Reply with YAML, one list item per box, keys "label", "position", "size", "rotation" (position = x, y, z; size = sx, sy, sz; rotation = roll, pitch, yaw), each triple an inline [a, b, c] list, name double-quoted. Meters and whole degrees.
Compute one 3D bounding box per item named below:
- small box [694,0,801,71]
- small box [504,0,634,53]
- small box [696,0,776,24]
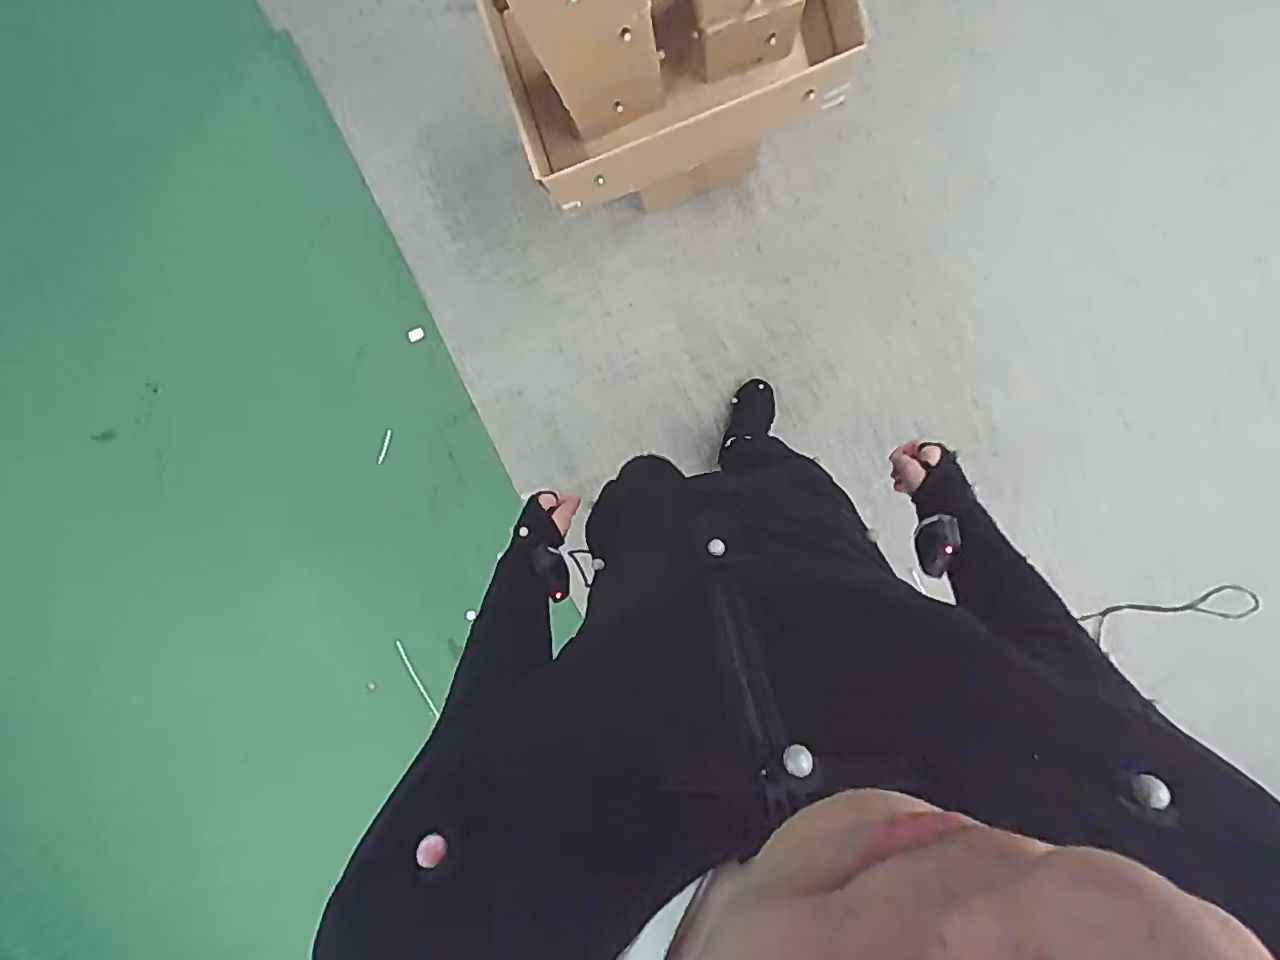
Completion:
- label: "small box"
  position: [0.182, -0.863, 0.948]
  size: [0.168, 0.176, 0.179]
  rotation: [-12, 100, 11]
- label: "small box"
  position: [-0.107, -0.705, 0.689]
  size: [0.179, 0.176, 0.168]
  rotation: [-17, 98, 12]
- label: "small box"
  position: [0.156, -0.830, 0.792]
  size: [0.179, 0.176, 0.168]
  rotation: [-12, 100, 11]
